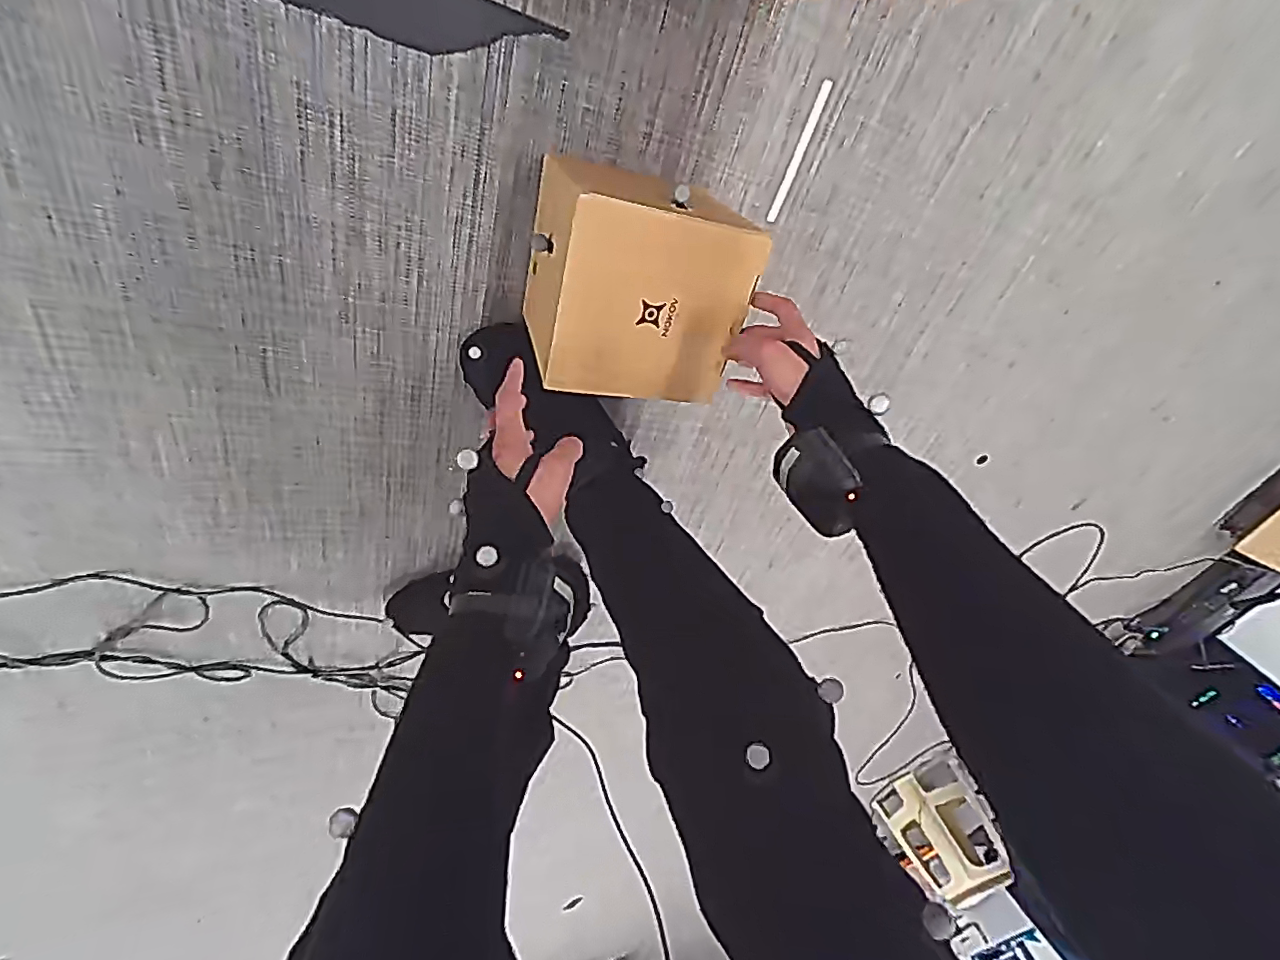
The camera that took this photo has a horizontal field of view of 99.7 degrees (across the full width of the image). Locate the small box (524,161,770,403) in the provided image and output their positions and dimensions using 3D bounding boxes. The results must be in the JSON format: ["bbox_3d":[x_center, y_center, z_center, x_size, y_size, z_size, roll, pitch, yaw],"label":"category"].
[{"bbox_3d":[-0.011,-0.195,0.532,0.179,0.176,0.168,1,128,-23],"label":"small box"}]
